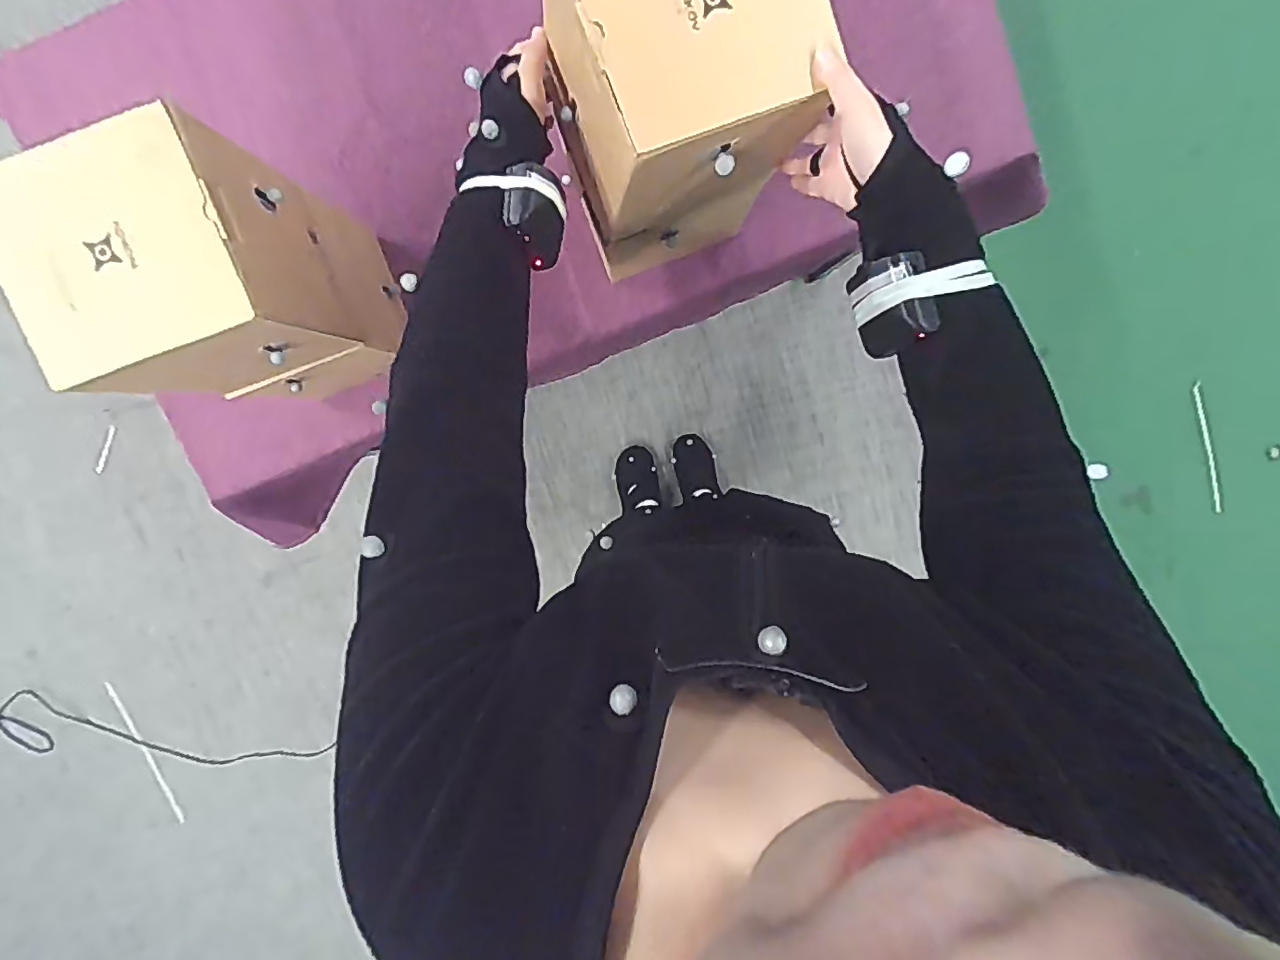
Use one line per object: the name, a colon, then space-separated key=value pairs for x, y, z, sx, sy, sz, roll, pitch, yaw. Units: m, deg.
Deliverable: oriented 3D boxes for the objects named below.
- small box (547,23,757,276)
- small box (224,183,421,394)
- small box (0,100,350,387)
small box: x=0.014 y=-0.358 z=0.626 sx=0.179 sy=0.176 sz=0.168 roll=-20 pitch=98 yaw=3
small box: x=-0.396 y=-0.211 z=0.648 sx=0.168 sy=0.176 sz=0.179 roll=-19 pitch=97 yaw=3
small box: x=-0.396 y=-0.188 z=0.486 sx=0.179 sy=0.176 sz=0.168 roll=-18 pitch=97 yaw=3
